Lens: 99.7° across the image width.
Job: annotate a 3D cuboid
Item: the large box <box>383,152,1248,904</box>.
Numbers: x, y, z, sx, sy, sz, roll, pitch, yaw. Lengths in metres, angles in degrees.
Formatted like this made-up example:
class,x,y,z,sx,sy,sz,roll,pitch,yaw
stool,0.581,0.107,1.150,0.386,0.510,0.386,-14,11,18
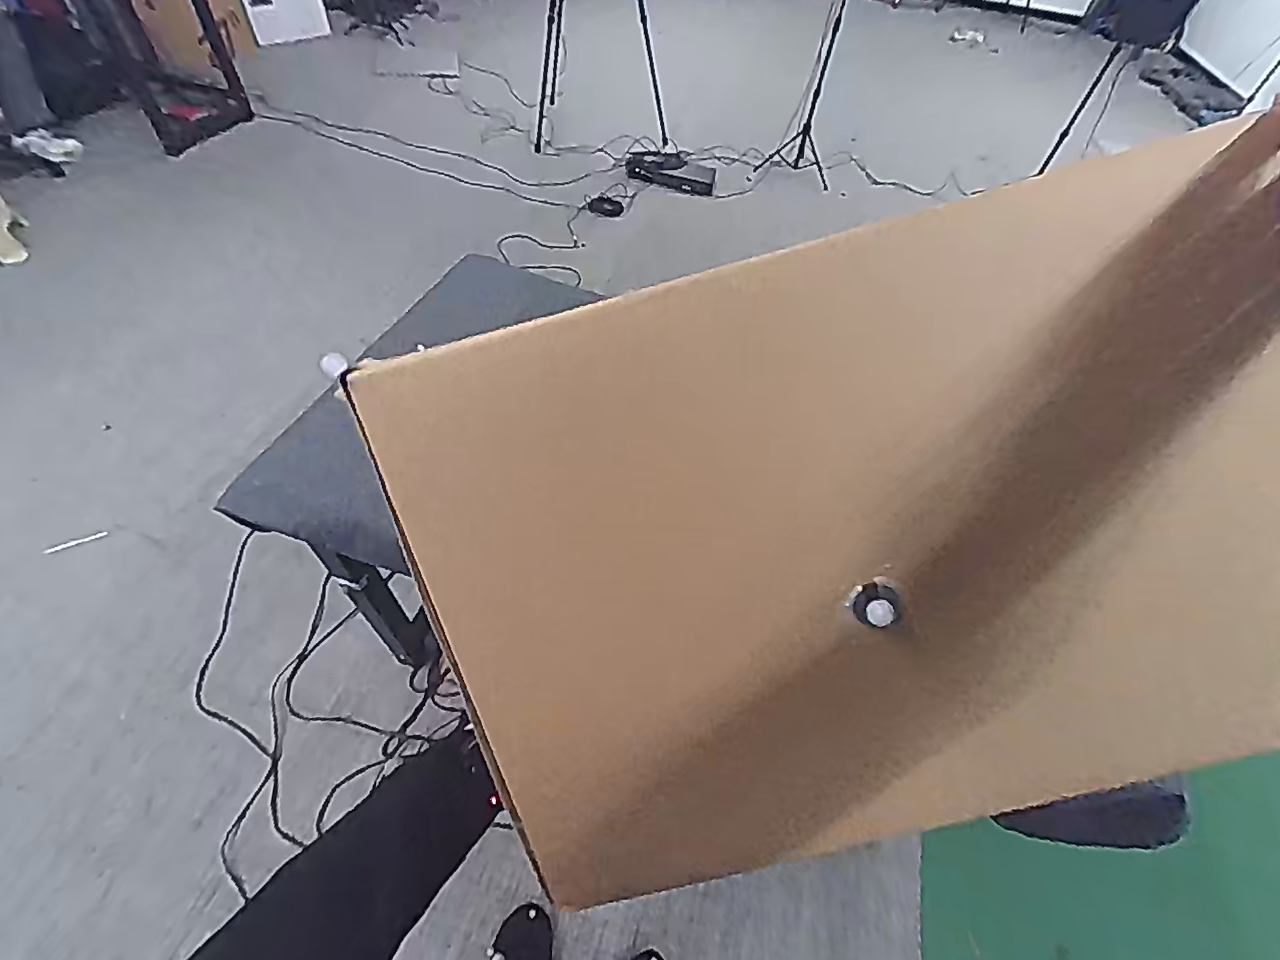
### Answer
class,x,y,z,sx,sy,sz,roll,pitch,yaw
large box,0.110,0.019,0.416,0.408,0.320,0.320,-17,13,1
